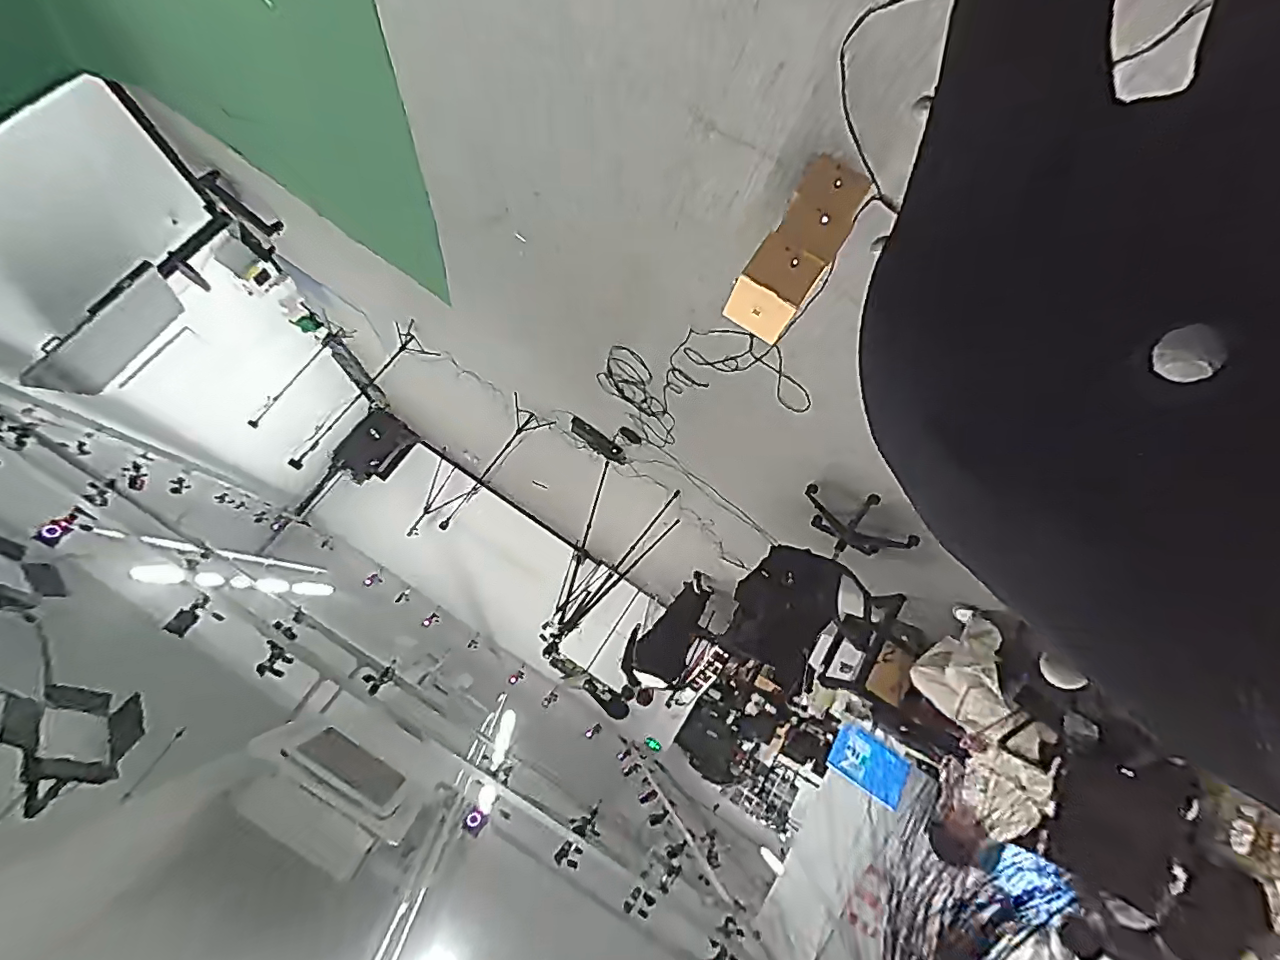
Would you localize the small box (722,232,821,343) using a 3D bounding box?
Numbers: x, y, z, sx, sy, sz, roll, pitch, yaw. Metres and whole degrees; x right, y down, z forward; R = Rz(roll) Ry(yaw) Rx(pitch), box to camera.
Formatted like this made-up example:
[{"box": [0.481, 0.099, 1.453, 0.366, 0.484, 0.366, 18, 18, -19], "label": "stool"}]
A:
[{"box": [0.346, -0.504, 1.421, 0.168, 0.176, 0.179, 33, 162, 4], "label": "small box"}]

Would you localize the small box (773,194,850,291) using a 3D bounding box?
[{"box": [0.438, -0.628, 1.473, 0.168, 0.176, 0.179, 33, 162, 2], "label": "small box"}]

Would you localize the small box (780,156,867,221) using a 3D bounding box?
[{"box": [0.512, -0.765, 1.526, 0.168, 0.176, 0.179, 33, 163, 6], "label": "small box"}]
